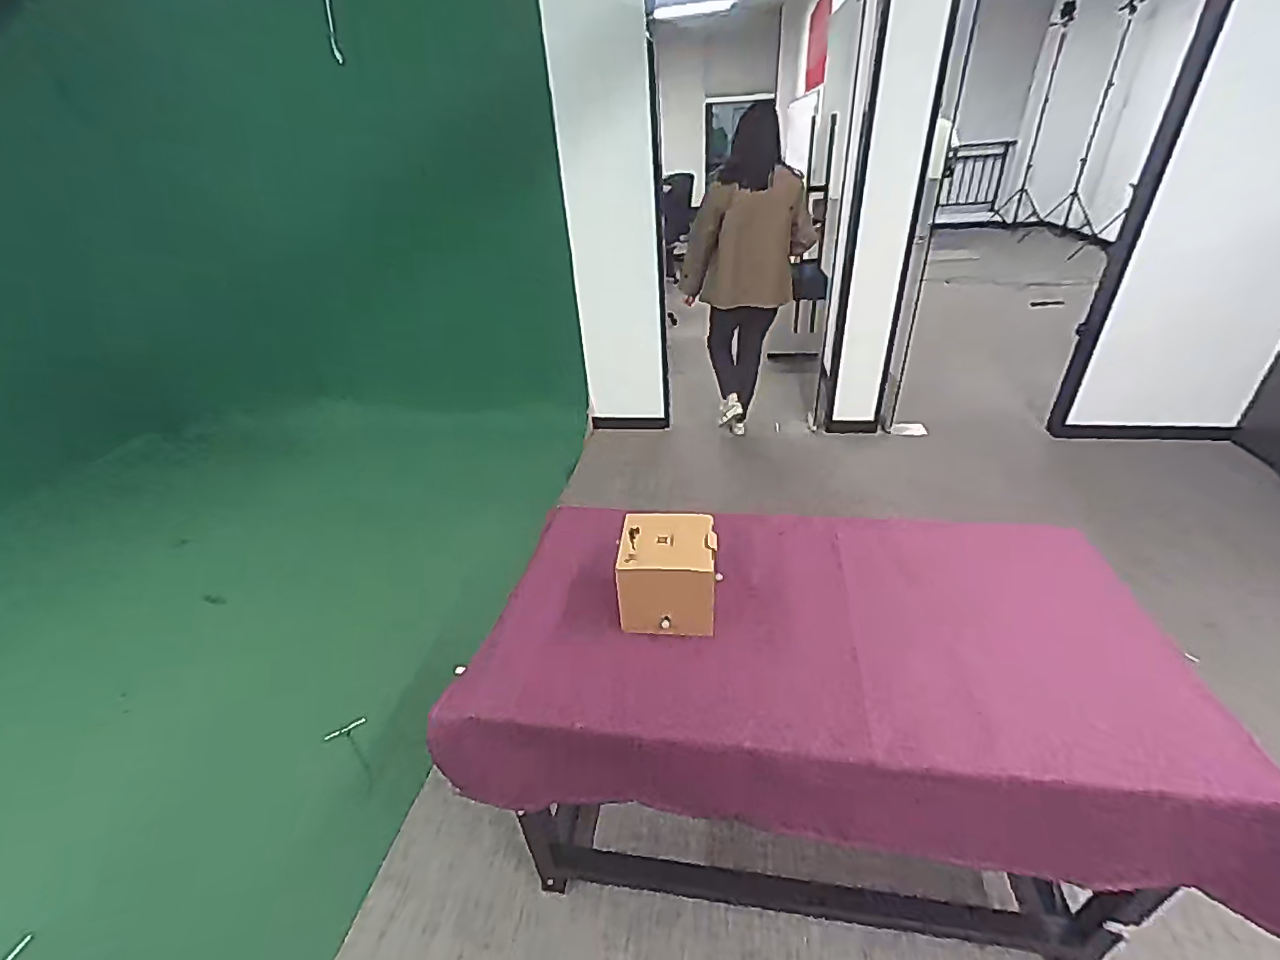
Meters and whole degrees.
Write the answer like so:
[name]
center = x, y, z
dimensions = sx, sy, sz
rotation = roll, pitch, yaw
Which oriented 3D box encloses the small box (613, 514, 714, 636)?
[small box]
center = 0.052, 0.185, 1.054
dimensions = 0.179, 0.176, 0.168
rotation = 1, 33, 8
